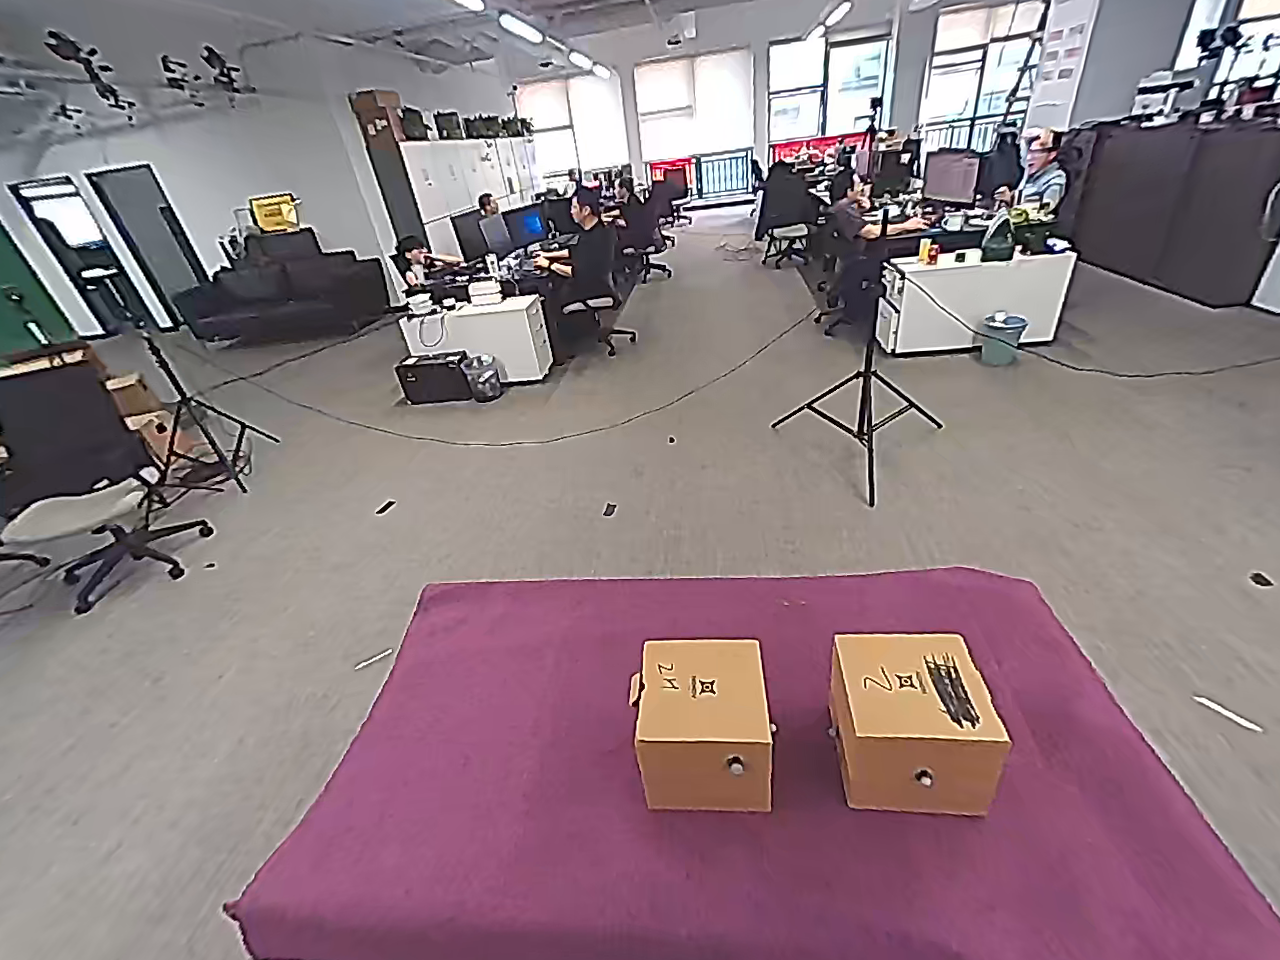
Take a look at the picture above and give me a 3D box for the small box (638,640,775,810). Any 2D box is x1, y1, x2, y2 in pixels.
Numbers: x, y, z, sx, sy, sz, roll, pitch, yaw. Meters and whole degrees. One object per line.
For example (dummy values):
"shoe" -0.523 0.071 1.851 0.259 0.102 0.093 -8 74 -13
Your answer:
"small box" 0.099 0.355 0.791 0.179 0.176 0.168 -4 31 8
